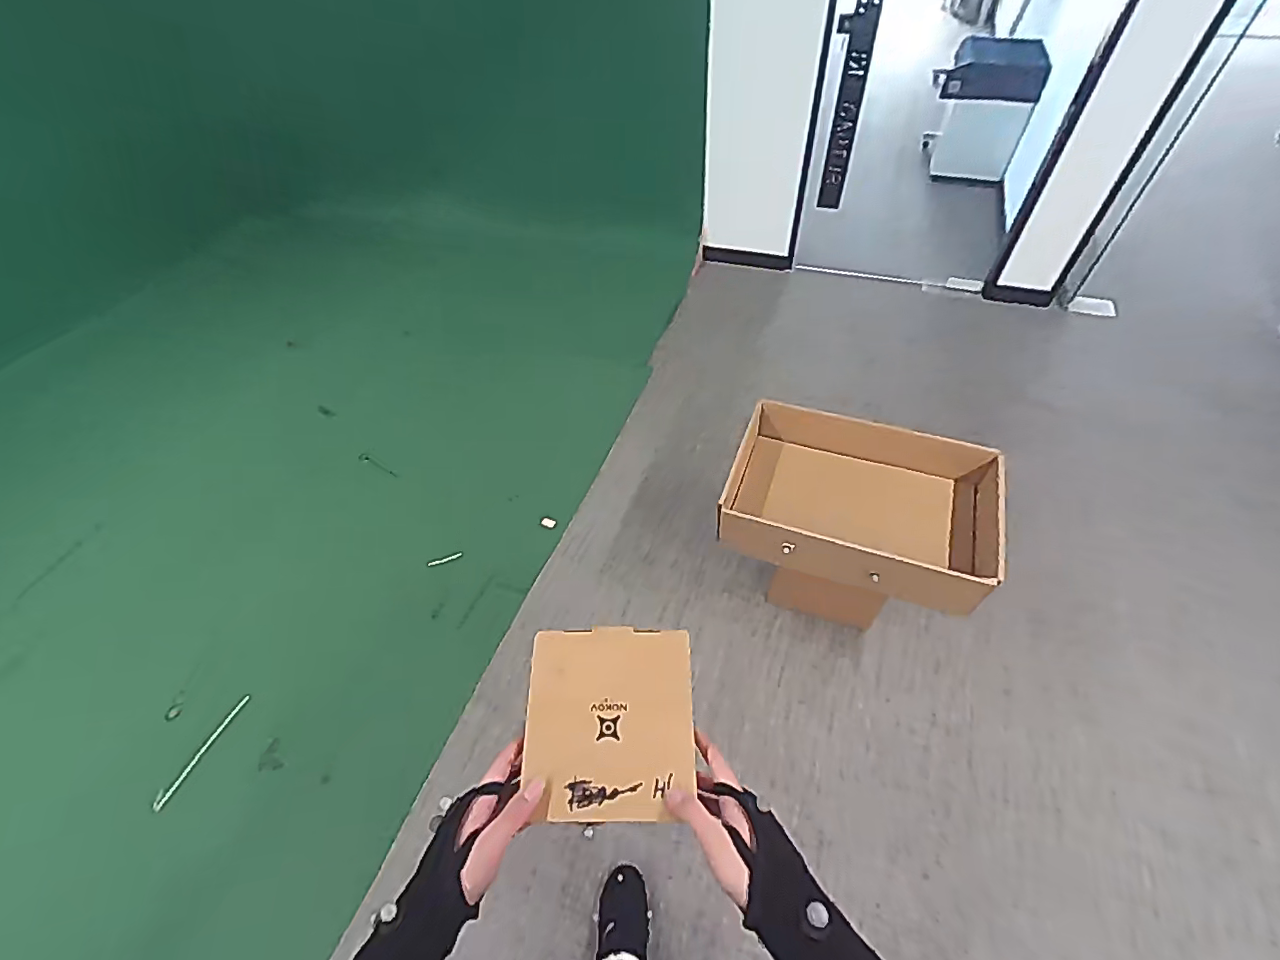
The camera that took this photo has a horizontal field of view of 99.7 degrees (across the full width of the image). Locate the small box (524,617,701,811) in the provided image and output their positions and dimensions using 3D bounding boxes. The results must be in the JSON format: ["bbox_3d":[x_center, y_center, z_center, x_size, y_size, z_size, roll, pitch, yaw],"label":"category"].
[{"bbox_3d":[-0.023,0.265,0.604,0.168,0.176,0.179,1,59,1],"label":"small box"}]
